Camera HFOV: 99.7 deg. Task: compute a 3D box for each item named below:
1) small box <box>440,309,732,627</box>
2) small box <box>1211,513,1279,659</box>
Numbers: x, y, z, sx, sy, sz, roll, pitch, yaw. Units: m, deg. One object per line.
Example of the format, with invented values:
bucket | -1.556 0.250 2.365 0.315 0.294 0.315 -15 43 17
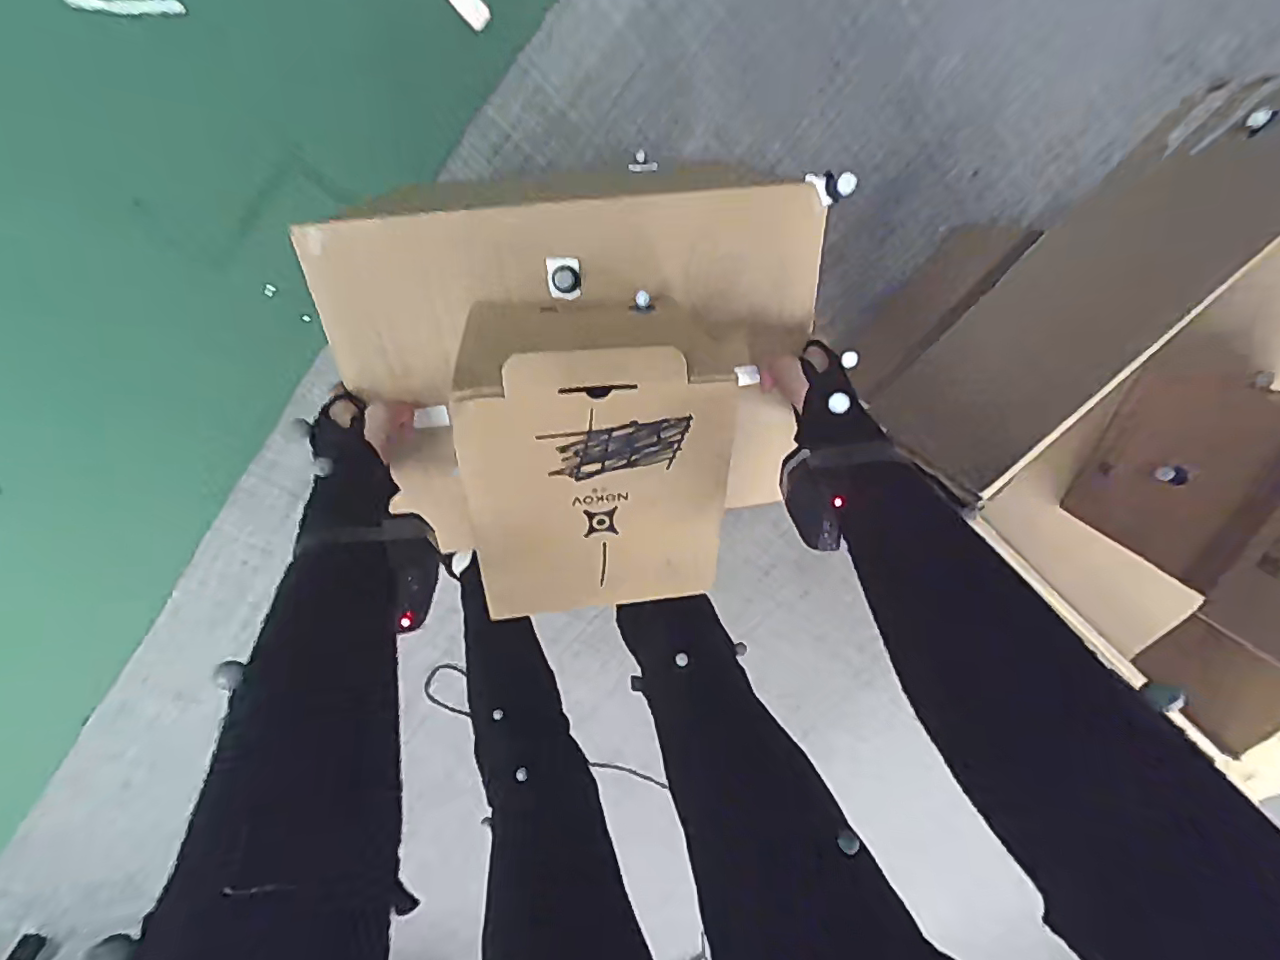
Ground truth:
small box | -0.042 -0.022 0.404 0.168 0.176 0.179 -6 124 -8
small box | 0.563 0.081 0.350 0.179 0.176 0.168 7 114 -11
